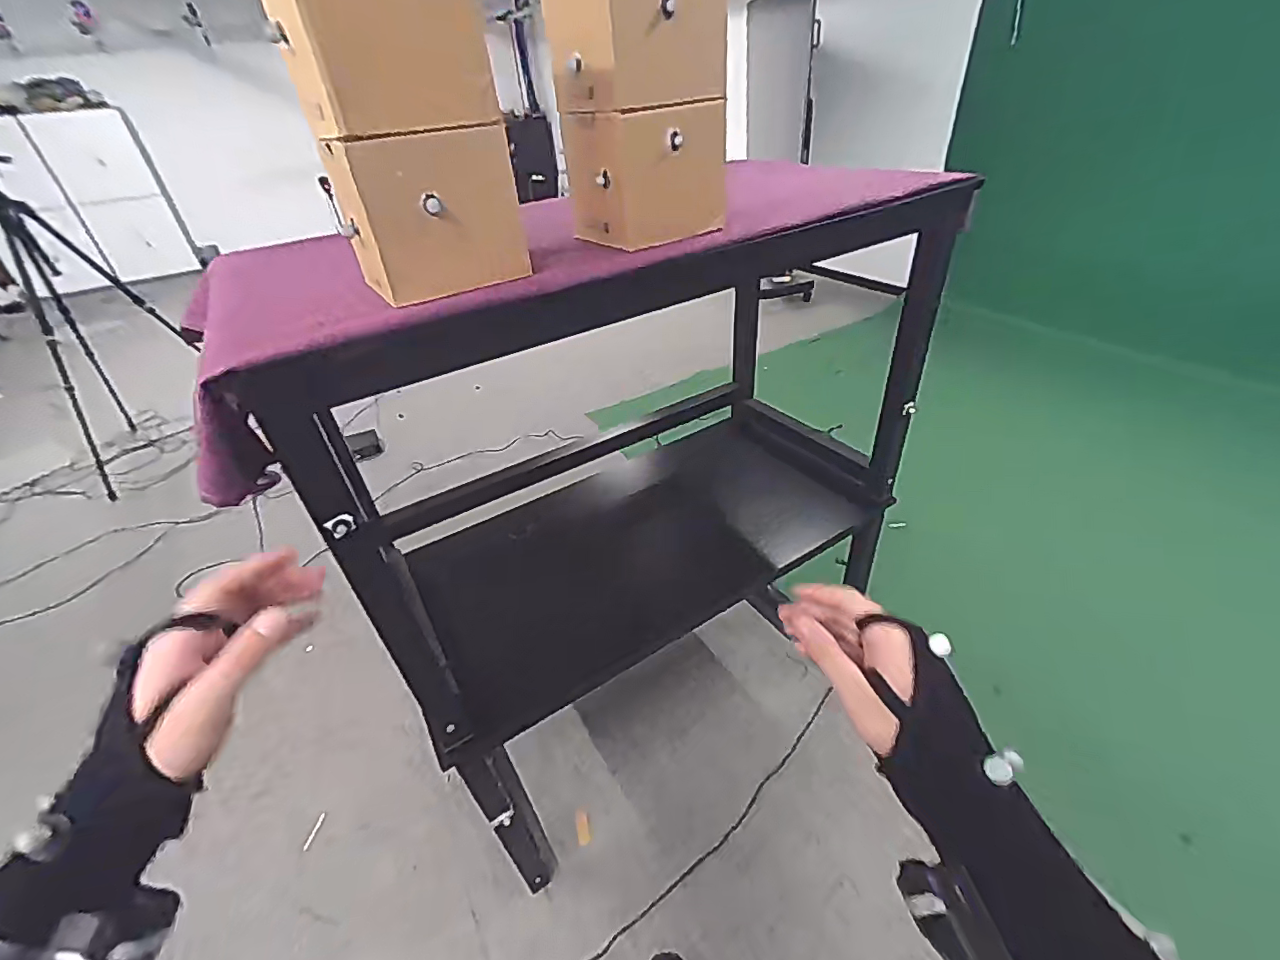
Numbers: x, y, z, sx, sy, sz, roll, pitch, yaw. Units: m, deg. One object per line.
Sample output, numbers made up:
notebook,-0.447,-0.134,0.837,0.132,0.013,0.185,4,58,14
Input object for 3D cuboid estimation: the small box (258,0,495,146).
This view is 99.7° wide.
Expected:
small box,-0.278,-0.457,0.570,0.179,0.176,0.168,-25,39,-26

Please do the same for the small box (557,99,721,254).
small box,0.004,-0.441,0.789,0.179,0.176,0.168,-25,40,-24

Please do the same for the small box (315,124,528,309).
small box,-0.261,-0.324,0.664,0.179,0.176,0.168,-26,40,-25

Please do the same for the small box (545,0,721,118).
small box,-0.010,-0.573,0.693,0.179,0.176,0.168,-26,41,-24
